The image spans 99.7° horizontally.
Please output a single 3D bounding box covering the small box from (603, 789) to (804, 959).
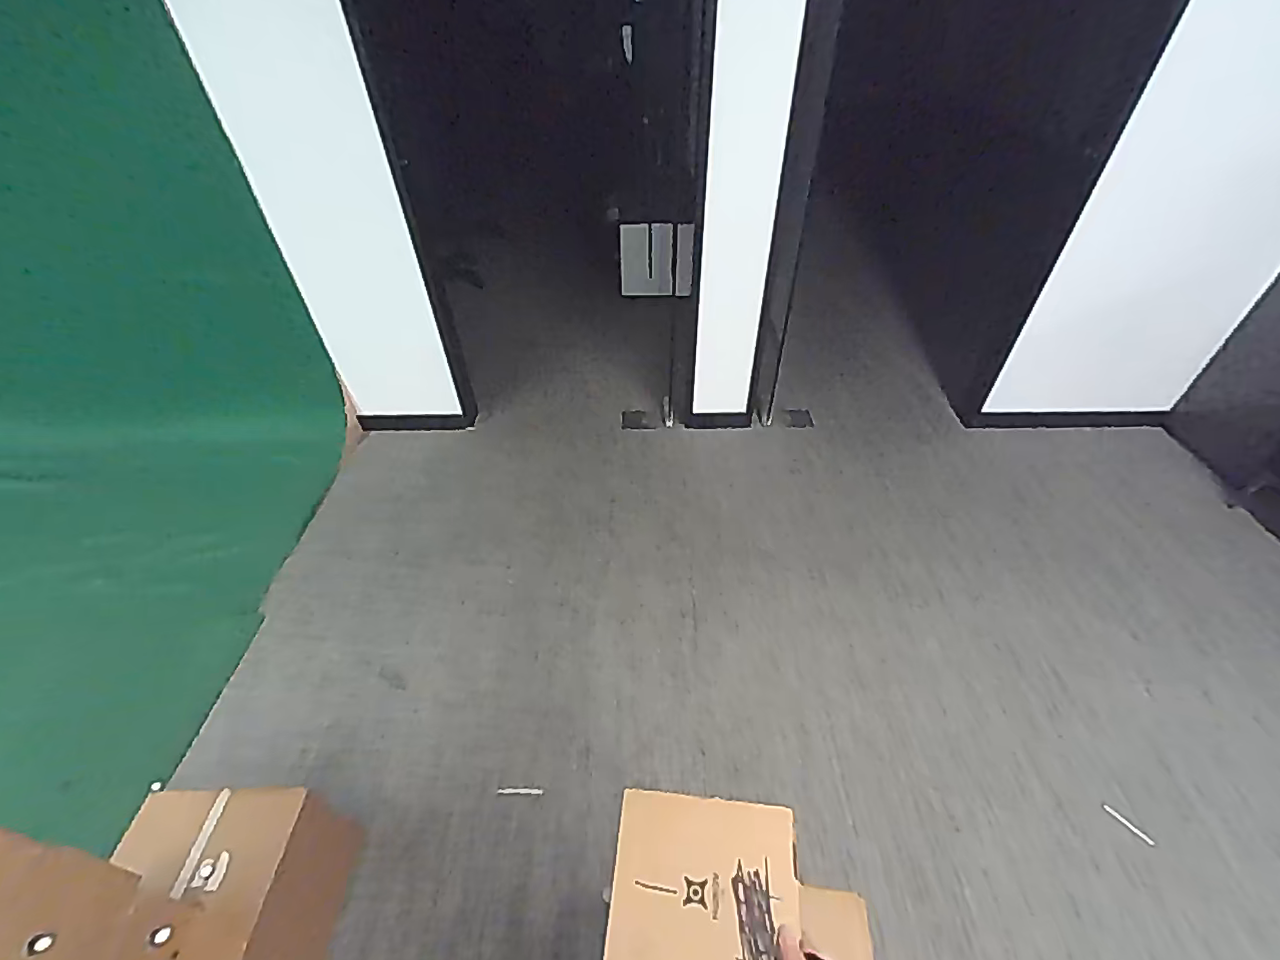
[{"bbox_3d":[0.062,0.441,0.558,0.179,0.176,0.168,3,45,6],"label":"small box"}]

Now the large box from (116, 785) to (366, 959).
[{"bbox_3d":[-0.784,0.848,1.013,0.320,0.320,0.408,-1,42,0],"label":"large box"}]

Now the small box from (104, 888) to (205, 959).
[{"bbox_3d":[-0.805,0.718,0.795,0.179,0.176,0.168,-2,42,0],"label":"small box"}]
